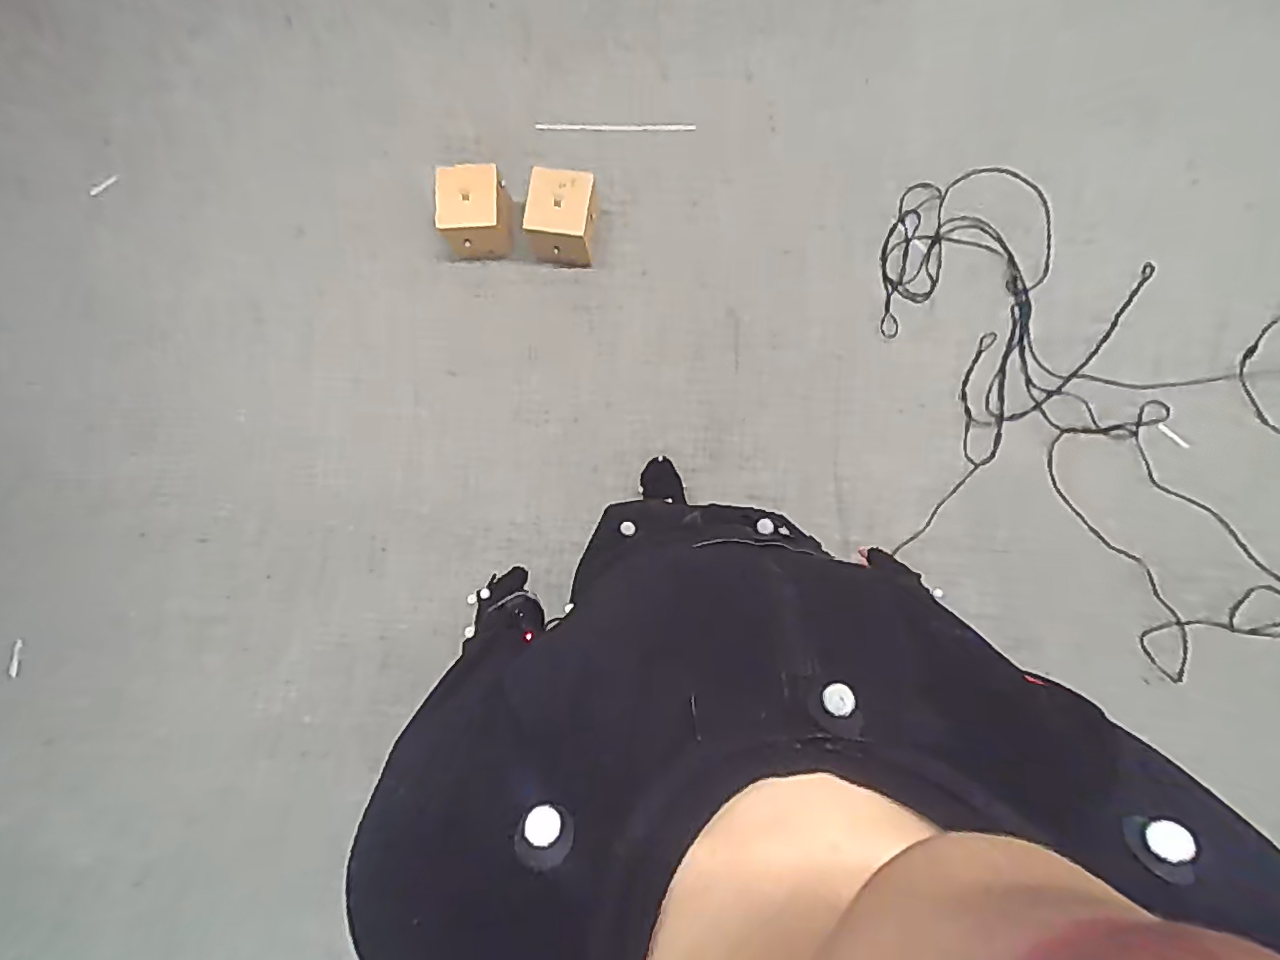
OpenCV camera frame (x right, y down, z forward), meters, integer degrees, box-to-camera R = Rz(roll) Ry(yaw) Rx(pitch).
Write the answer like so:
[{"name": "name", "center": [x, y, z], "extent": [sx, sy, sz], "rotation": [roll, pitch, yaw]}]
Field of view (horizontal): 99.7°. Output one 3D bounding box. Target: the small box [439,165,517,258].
[{"name": "small box", "center": [-0.445, -0.735, 1.503], "extent": [0.168, 0.176, 0.179], "rotation": [-2, 84, 3]}]

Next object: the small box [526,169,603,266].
[{"name": "small box", "center": [-0.200, -0.714, 1.487], "extent": [0.168, 0.176, 0.179], "rotation": [9, 85, 3]}]
